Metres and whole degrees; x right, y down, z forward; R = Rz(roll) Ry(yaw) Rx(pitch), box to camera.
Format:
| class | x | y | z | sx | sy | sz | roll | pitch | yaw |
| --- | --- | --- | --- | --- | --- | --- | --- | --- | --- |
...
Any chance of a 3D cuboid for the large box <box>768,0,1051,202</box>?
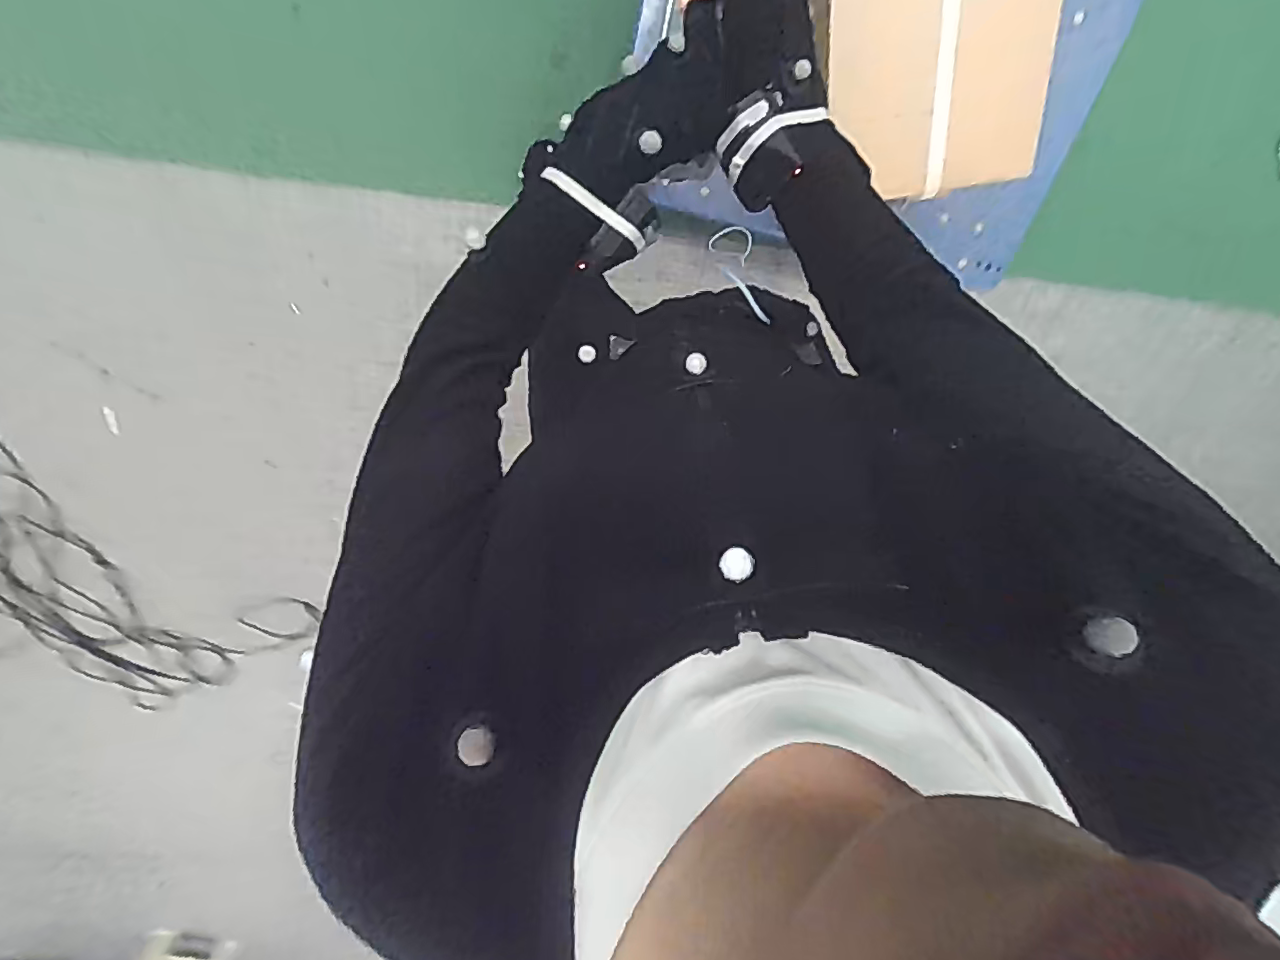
| class | x | y | z | sx | sy | sz | roll | pitch | yaw |
| --- | --- | --- | --- | --- | --- | --- | --- | --- | --- |
| large box | 0.391 | -0.685 | 0.853 | 0.320 | 0.320 | 0.408 | -8 | 117 | 0 |
